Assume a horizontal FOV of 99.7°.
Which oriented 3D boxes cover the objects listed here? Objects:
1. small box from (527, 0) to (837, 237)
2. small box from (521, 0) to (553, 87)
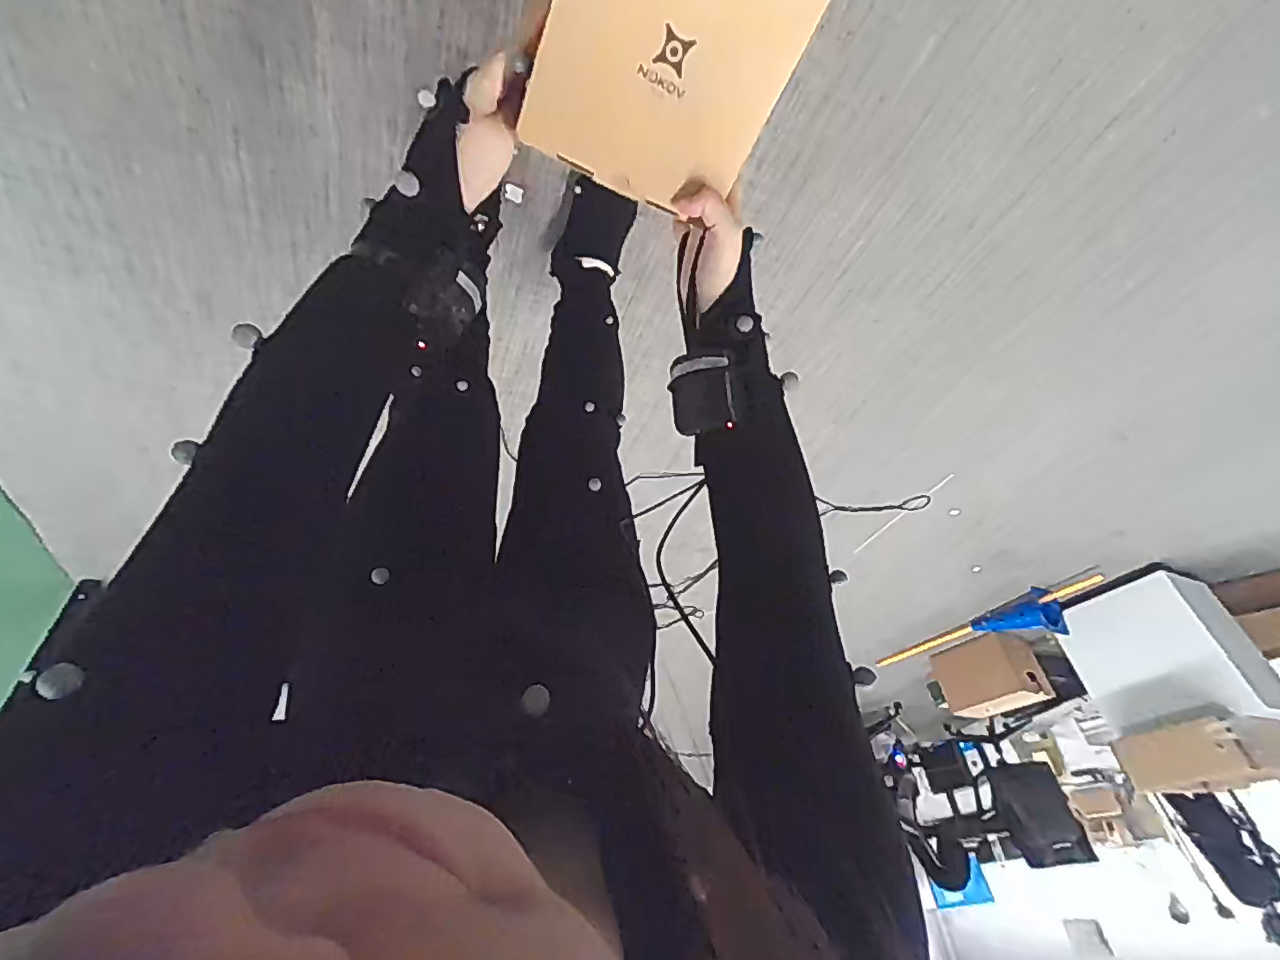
[{"bbox_3d":[0.013,-0.335,0.429,0.168,0.176,0.179,14,129,-23],"label":"small box"},{"bbox_3d":[-0.017,-0.488,0.558,0.168,0.176,0.179,14,138,-24],"label":"small box"}]
